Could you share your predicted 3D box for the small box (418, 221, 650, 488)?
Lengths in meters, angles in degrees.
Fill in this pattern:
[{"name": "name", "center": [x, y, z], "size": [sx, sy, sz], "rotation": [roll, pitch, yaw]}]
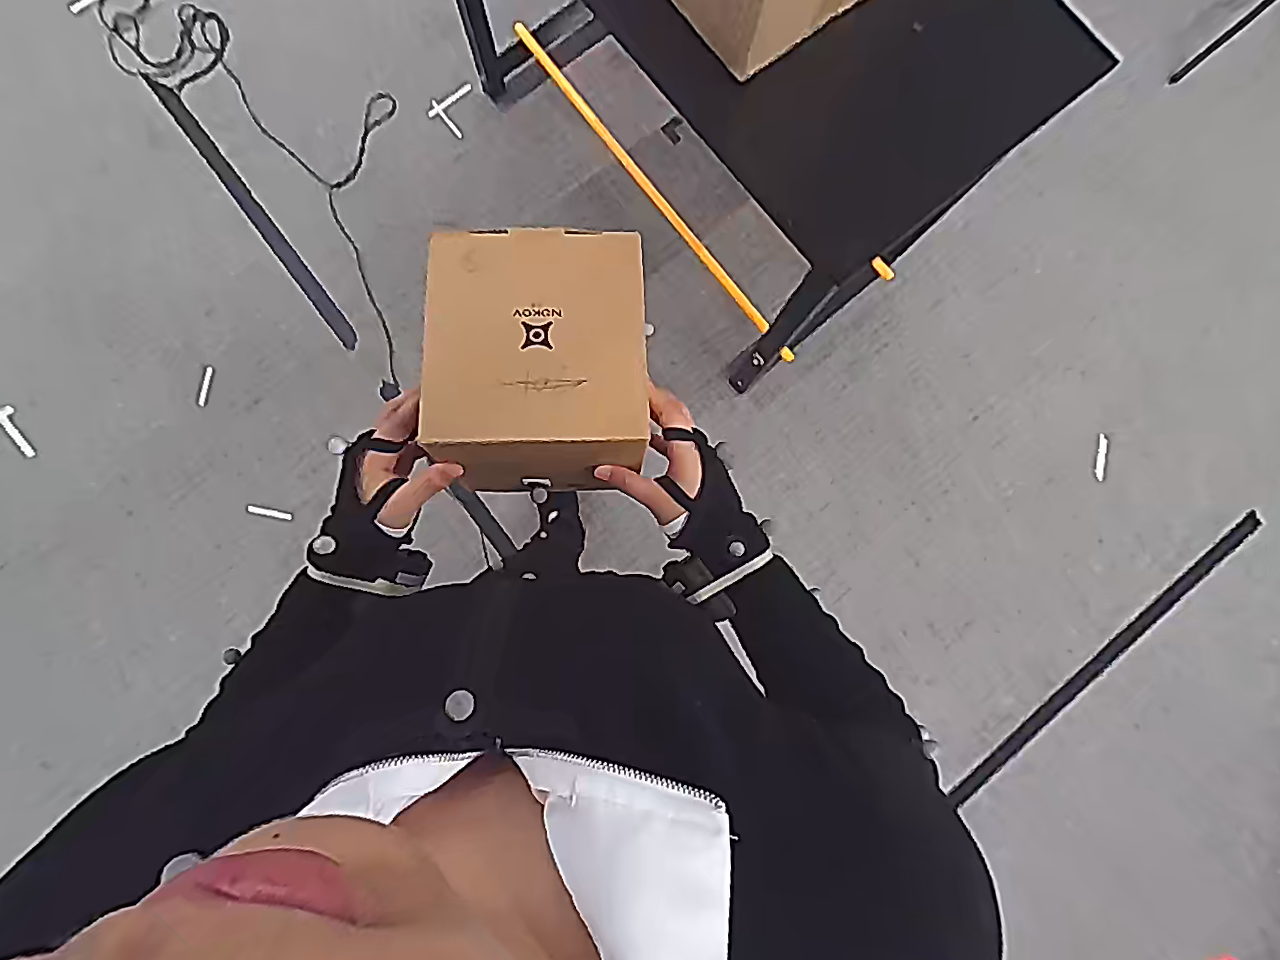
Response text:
[{"name": "small box", "center": [-0.083, -0.097, 0.480], "size": [0.168, 0.176, 0.179], "rotation": [-1, 77, -4]}]
